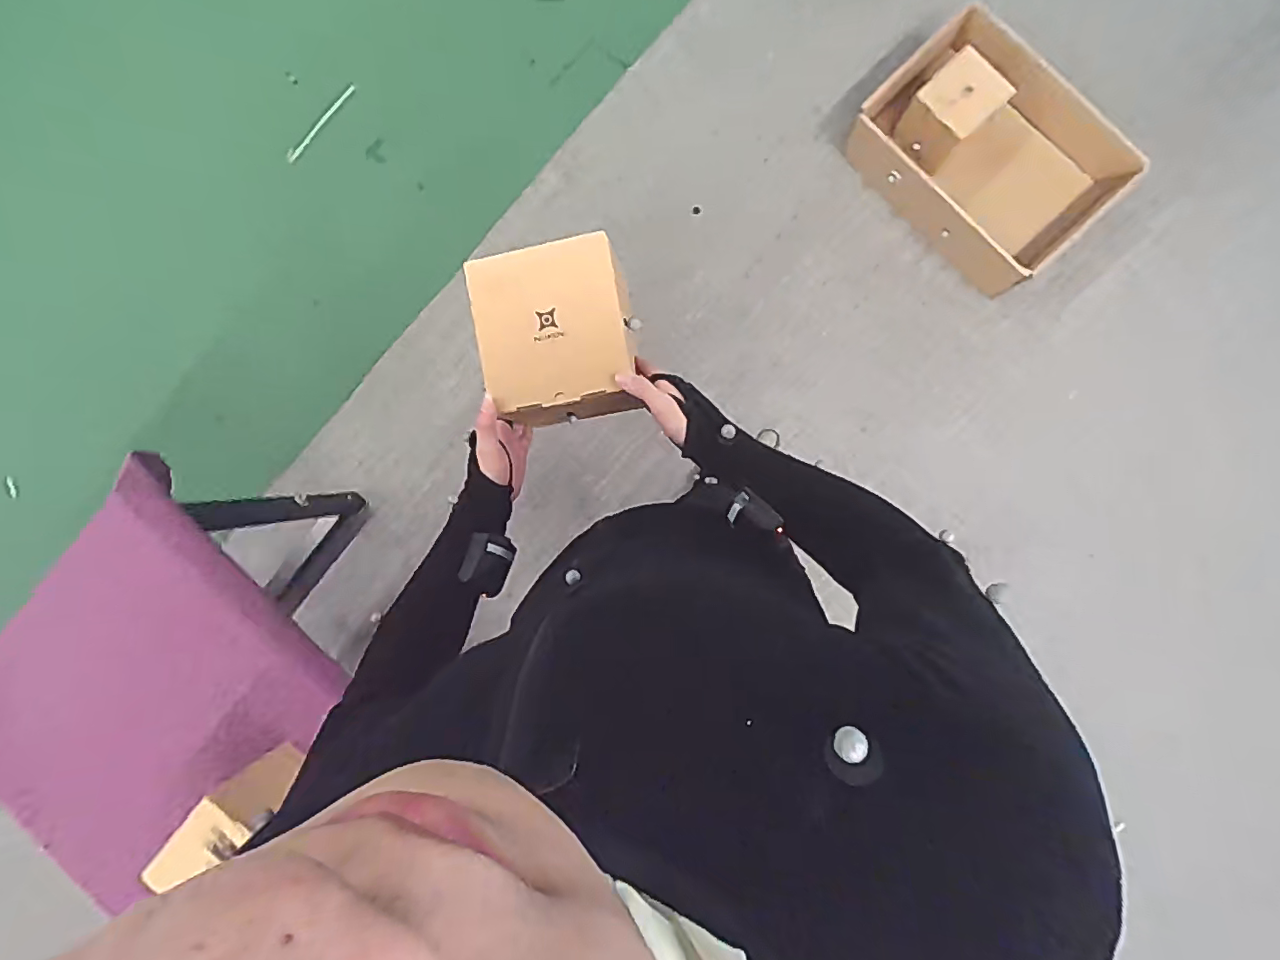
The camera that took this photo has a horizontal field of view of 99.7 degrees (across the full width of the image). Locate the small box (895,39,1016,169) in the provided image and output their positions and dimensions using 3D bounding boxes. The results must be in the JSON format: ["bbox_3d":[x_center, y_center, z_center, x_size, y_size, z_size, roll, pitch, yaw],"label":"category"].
[{"bbox_3d":[0.803,-0.963,1.400,0.179,0.176,0.168,-43,87,3],"label":"small box"}]
